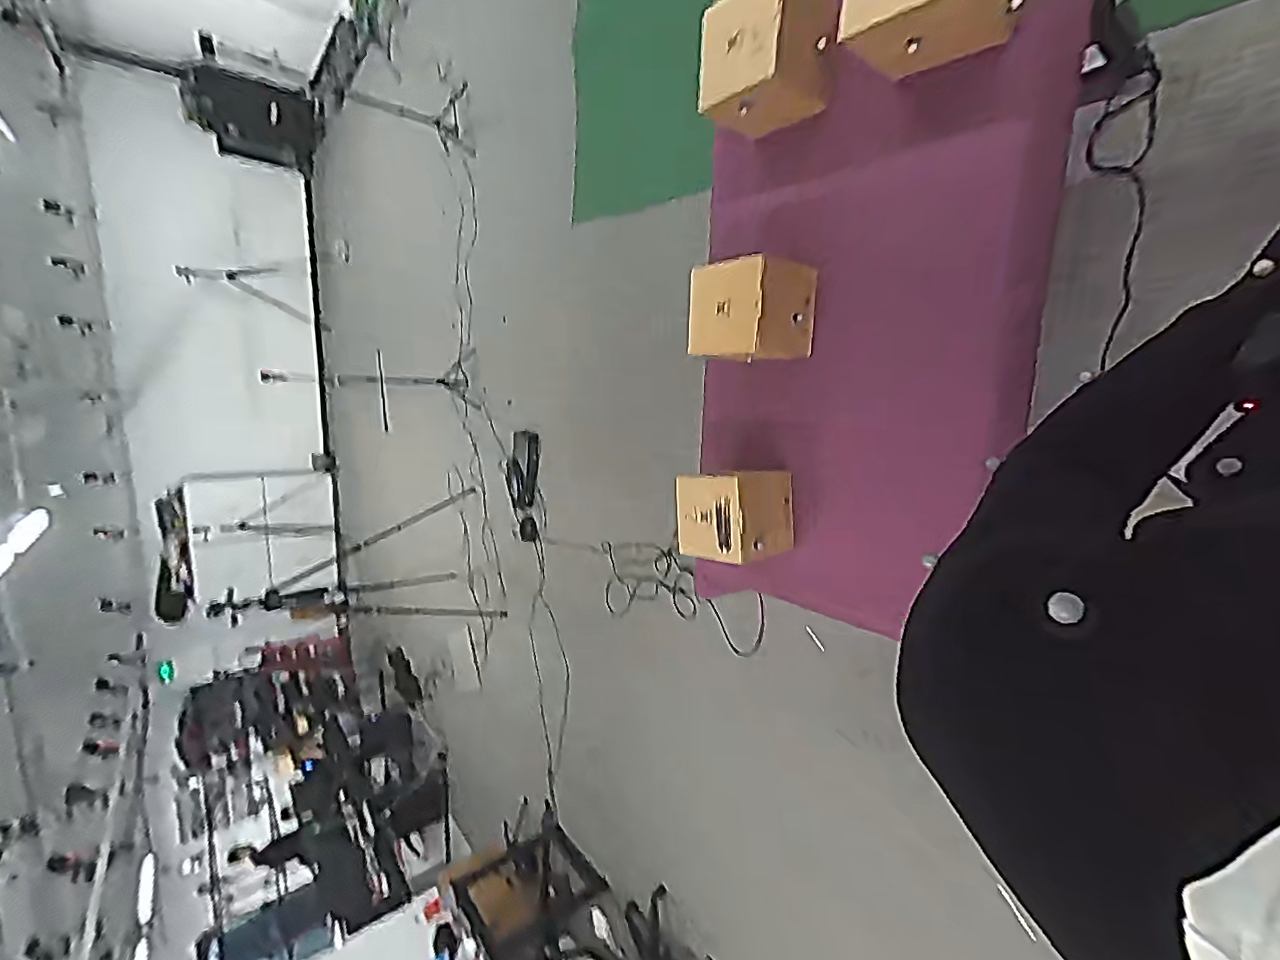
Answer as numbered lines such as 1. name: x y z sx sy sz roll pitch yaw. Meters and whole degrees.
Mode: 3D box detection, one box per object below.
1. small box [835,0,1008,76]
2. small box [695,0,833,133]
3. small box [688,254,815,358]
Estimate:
1. small box: 0.407 -0.714 0.762 0.179 0.176 0.168 20 111 50
2. small box: 0.222 -0.763 0.981 0.179 0.176 0.168 14 107 48
3. small box: 0.216 -0.329 1.060 0.179 0.176 0.168 12 104 48
